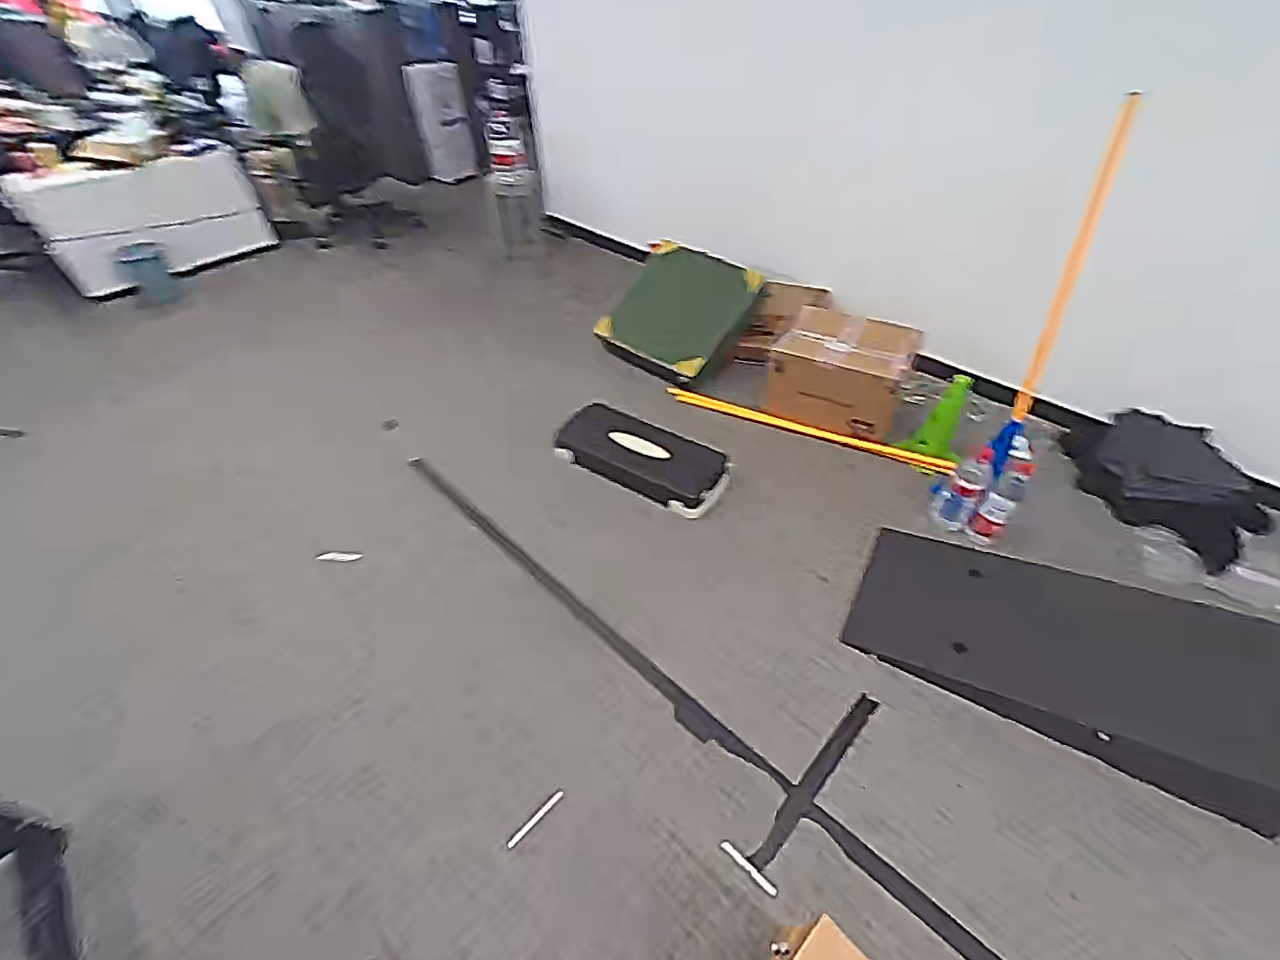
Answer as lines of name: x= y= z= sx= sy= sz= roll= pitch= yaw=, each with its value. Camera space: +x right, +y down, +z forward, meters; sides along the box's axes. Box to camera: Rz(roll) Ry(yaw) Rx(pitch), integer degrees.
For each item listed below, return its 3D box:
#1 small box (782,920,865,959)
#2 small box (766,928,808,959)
small box: x=0.299 y=0.845 z=0.847 sx=0.168 sy=0.176 sz=0.179 roll=-32 pitch=52 yaw=-27
small box: x=0.299 y=0.956 z=0.968 sx=0.168 sy=0.176 sz=0.179 roll=-35 pitch=55 yaw=-29
